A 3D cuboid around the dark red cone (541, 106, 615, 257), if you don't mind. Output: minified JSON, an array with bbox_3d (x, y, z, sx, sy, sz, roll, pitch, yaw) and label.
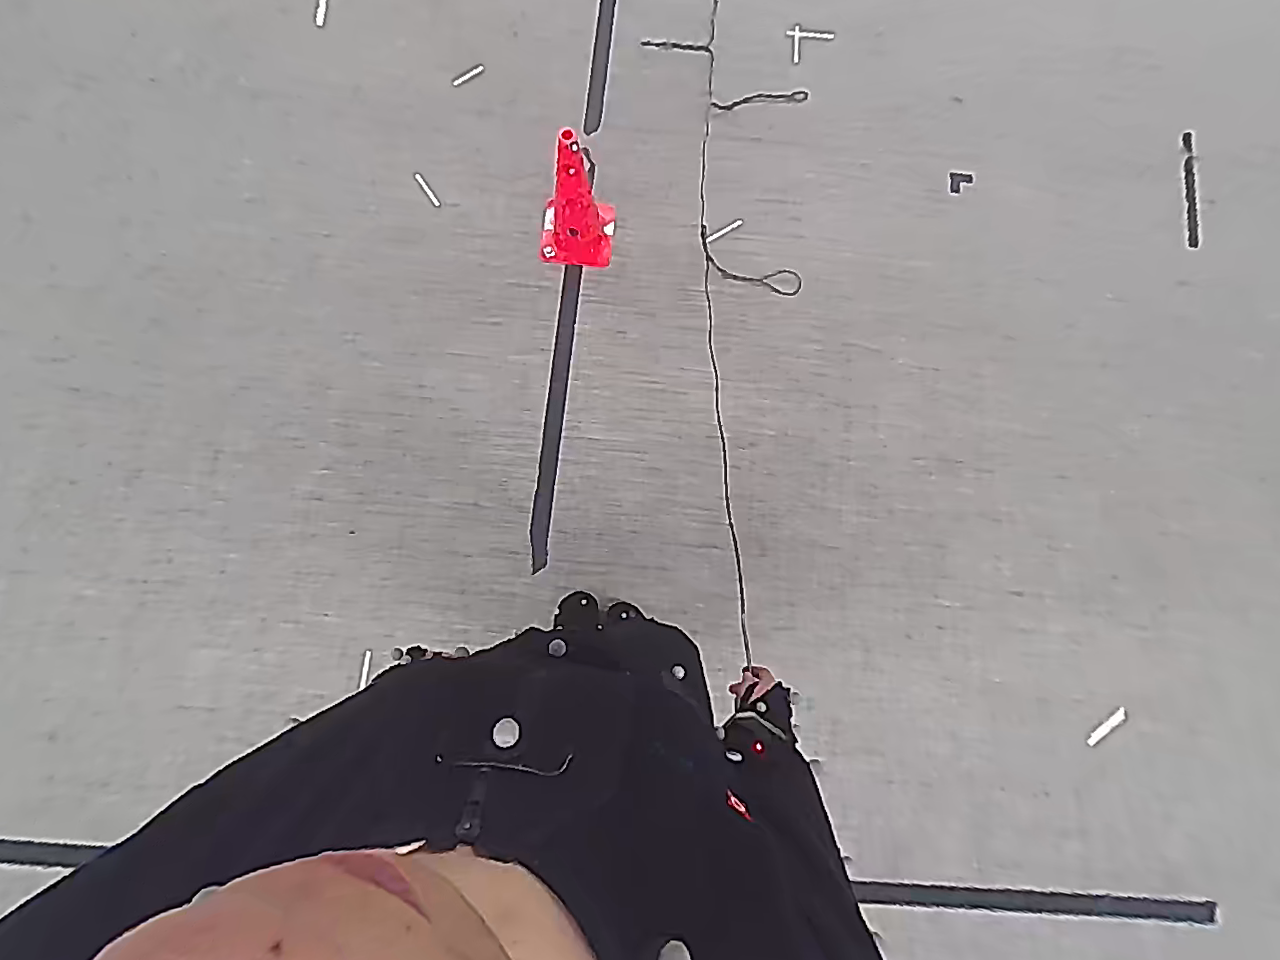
[{"bbox_3d":[-0.162,-0.751,1.353,0.201,0.394,0.202,5,80,-3],"label":"dark red cone"}]
